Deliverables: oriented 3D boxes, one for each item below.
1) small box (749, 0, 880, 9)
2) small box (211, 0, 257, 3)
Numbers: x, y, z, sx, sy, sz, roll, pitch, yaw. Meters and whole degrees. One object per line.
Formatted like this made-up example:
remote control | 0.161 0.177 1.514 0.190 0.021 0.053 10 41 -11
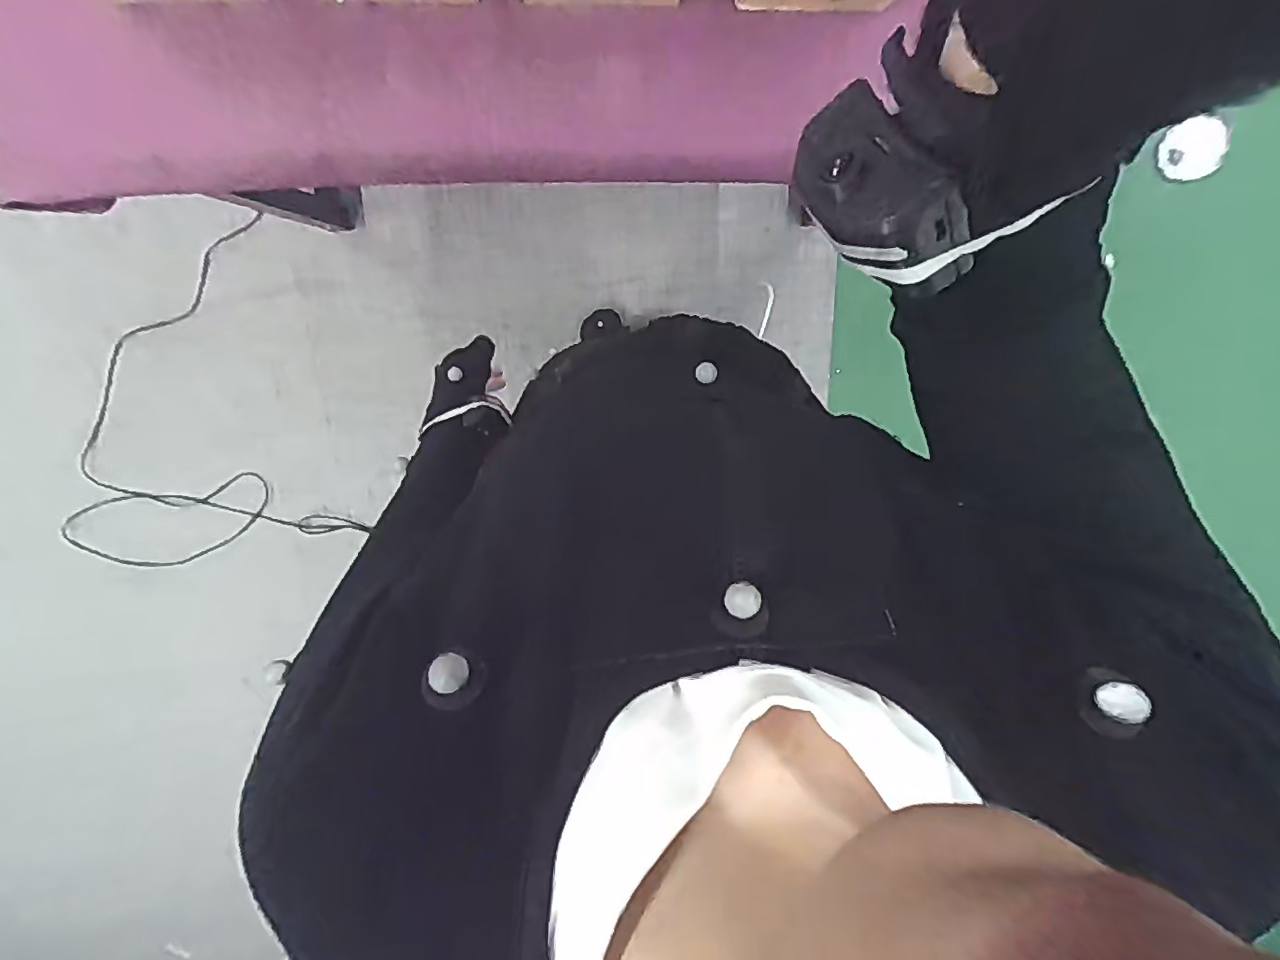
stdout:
small box | 0.187 -0.576 0.488 0.168 0.176 0.179 -2 108 -2
small box | -0.464 -0.561 0.462 0.168 0.176 0.179 -2 107 -2
